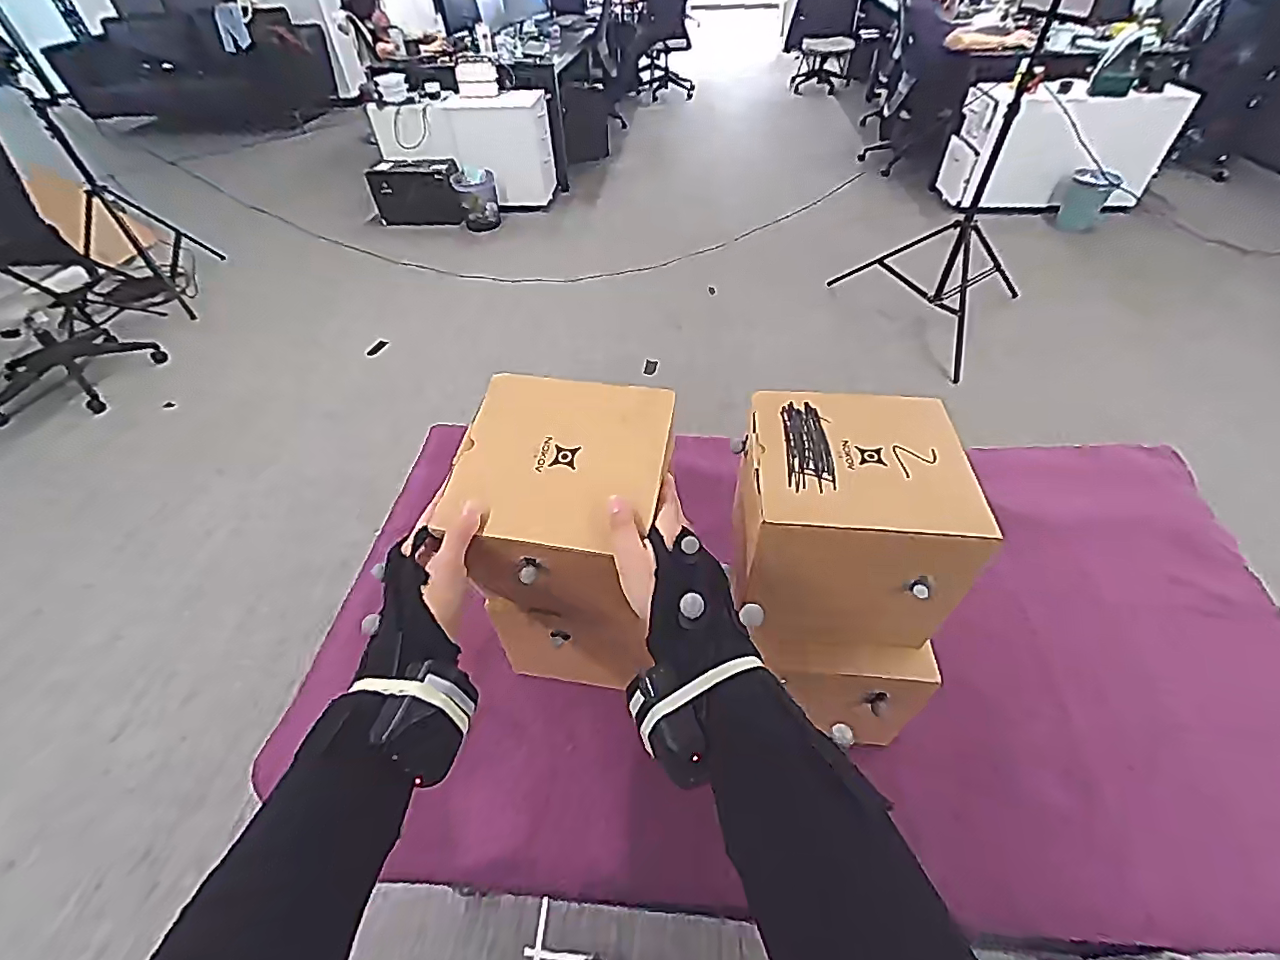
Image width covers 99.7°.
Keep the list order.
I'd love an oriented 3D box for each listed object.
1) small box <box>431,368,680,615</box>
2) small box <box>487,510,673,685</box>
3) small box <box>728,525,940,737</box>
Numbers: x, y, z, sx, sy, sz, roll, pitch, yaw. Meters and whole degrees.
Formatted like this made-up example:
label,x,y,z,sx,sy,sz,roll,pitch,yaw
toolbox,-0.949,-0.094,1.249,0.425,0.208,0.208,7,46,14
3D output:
label,x,y,z,sx,sy,sz,roll,pitch,yaw
small box,-0.060,0.018,0.516,0.179,0.176,0.168,7,59,8
small box,-0.058,0.129,0.652,0.179,0.176,0.168,6,47,7
small box,0.195,0.170,0.604,0.179,0.176,0.168,3,45,5
